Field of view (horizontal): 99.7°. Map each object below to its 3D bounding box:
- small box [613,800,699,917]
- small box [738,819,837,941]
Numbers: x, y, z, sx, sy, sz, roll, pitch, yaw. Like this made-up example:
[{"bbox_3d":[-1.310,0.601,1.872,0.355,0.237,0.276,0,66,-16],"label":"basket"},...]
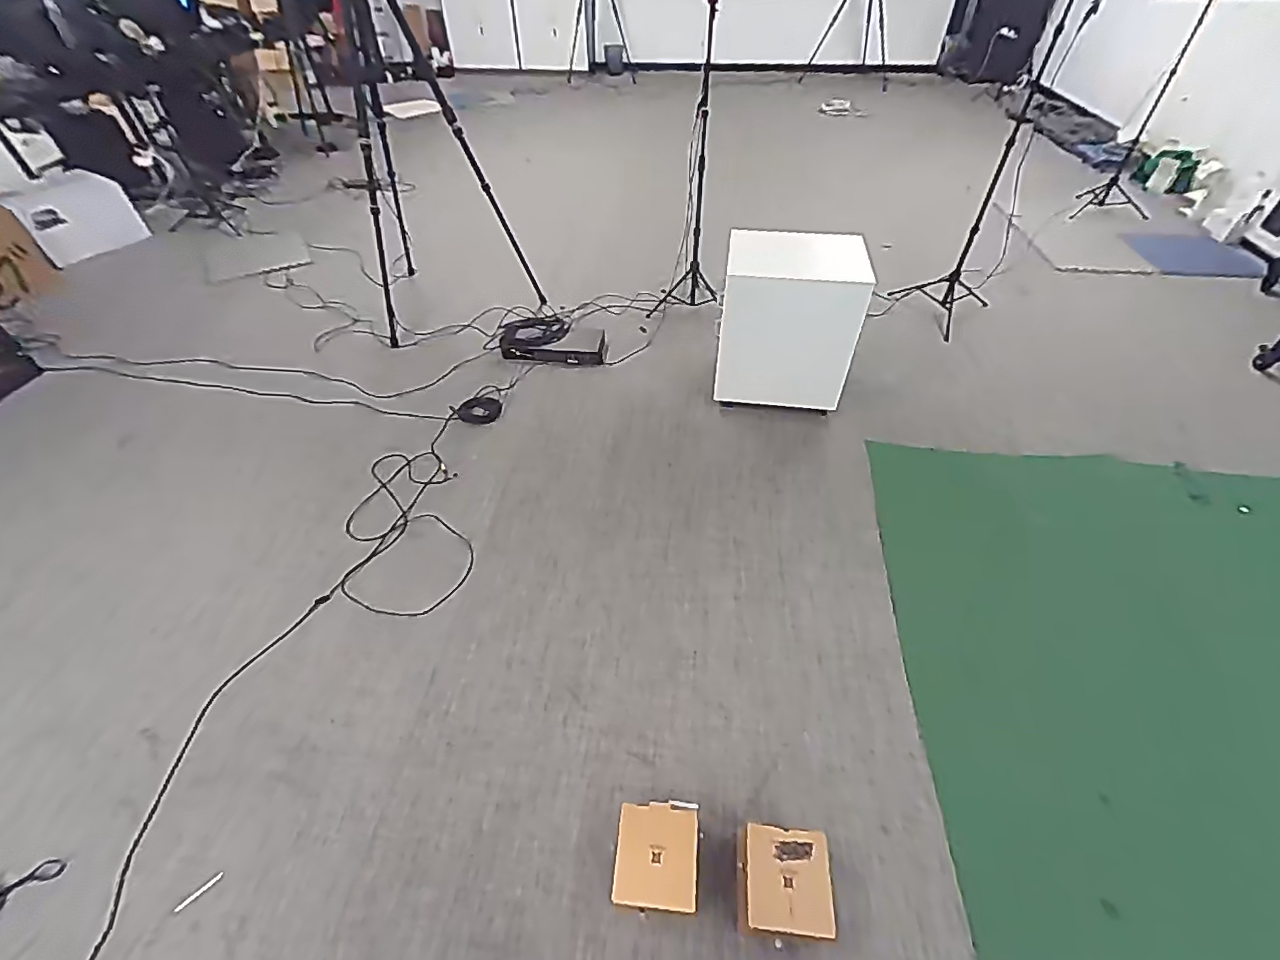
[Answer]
[{"bbox_3d":[0.038,0.813,1.158,0.168,0.176,0.179,4,47,4],"label":"small box"},{"bbox_3d":[0.298,0.838,1.131,0.168,0.176,0.179,5,48,4],"label":"small box"}]
